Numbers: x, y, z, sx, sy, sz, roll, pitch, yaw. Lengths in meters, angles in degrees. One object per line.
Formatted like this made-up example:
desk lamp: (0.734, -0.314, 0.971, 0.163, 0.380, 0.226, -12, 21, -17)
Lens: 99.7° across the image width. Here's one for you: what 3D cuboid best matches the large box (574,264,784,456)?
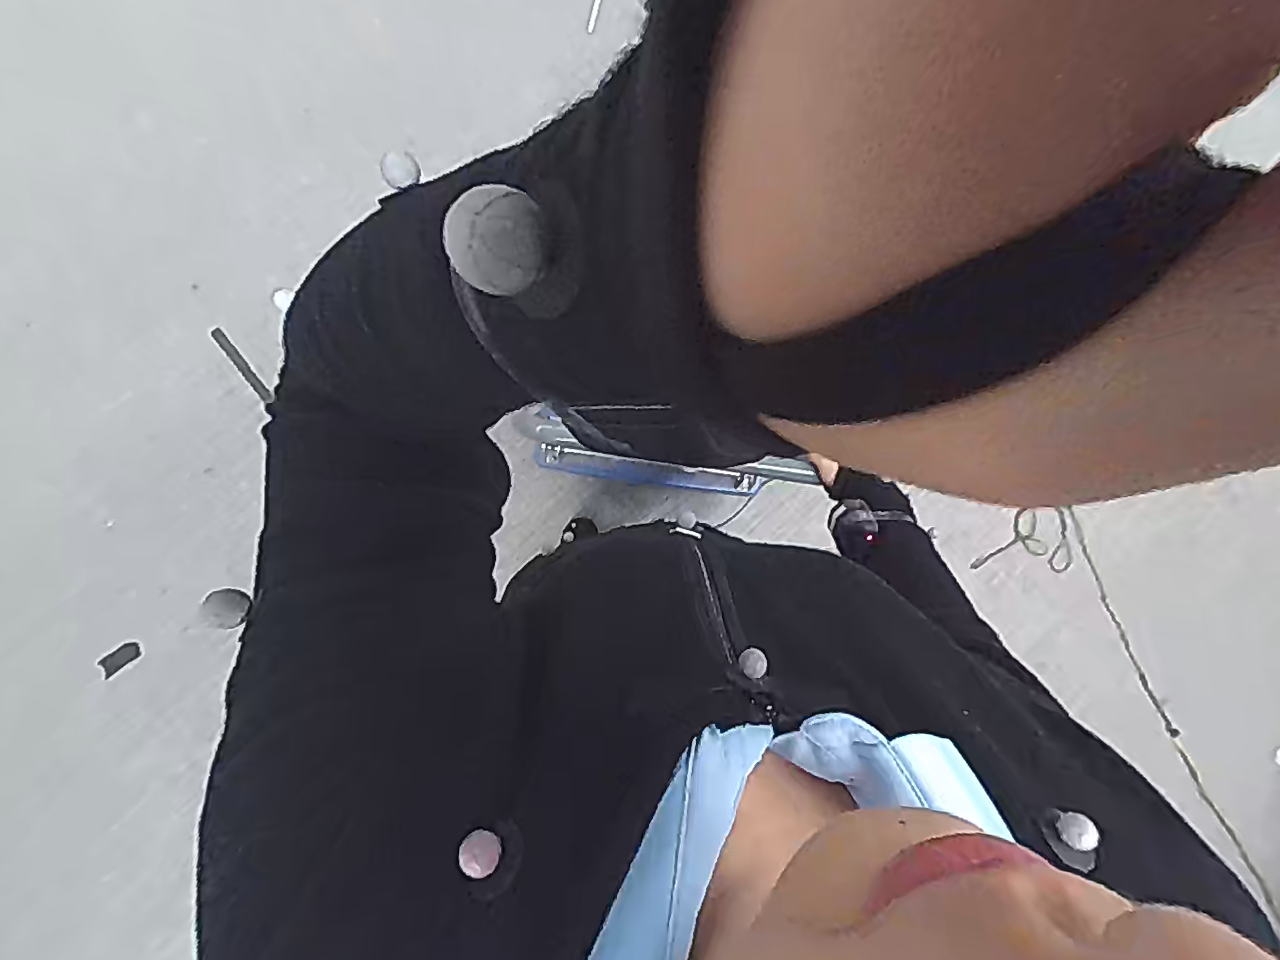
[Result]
large box: (0.066, -0.246, 1.225, 0.408, 0.320, 0.320, 8, 86, -5)
